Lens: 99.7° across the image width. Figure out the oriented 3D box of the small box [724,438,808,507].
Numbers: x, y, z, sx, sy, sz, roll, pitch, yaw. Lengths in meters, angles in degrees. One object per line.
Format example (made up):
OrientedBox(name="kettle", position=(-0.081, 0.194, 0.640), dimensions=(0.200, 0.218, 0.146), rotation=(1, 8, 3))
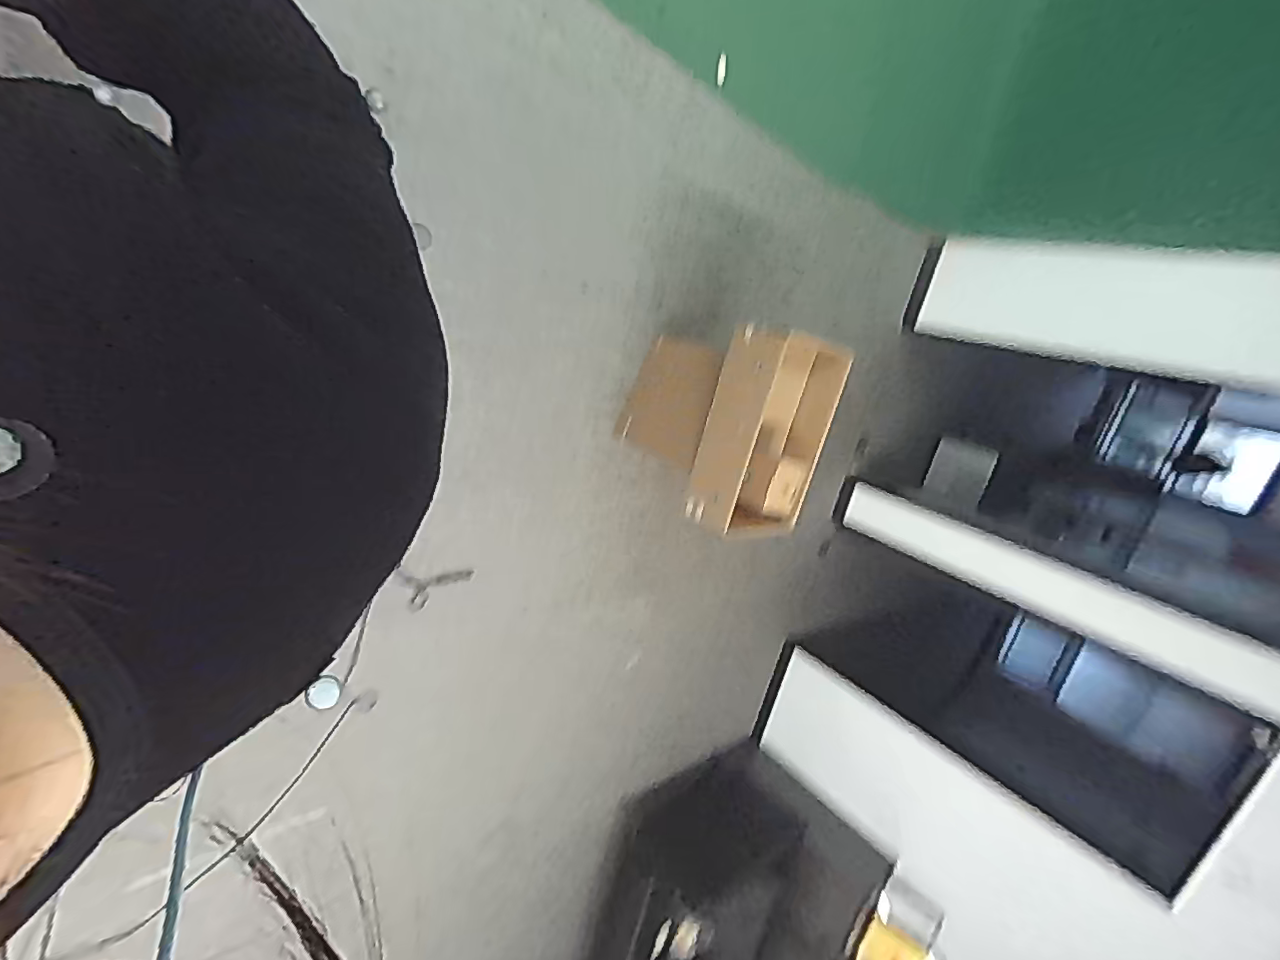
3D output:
OrientedBox(name="small box", position=(0.402, -0.027, 1.745), dimensions=(0.179, 0.176, 0.168), rotation=(9, 106, -45))
